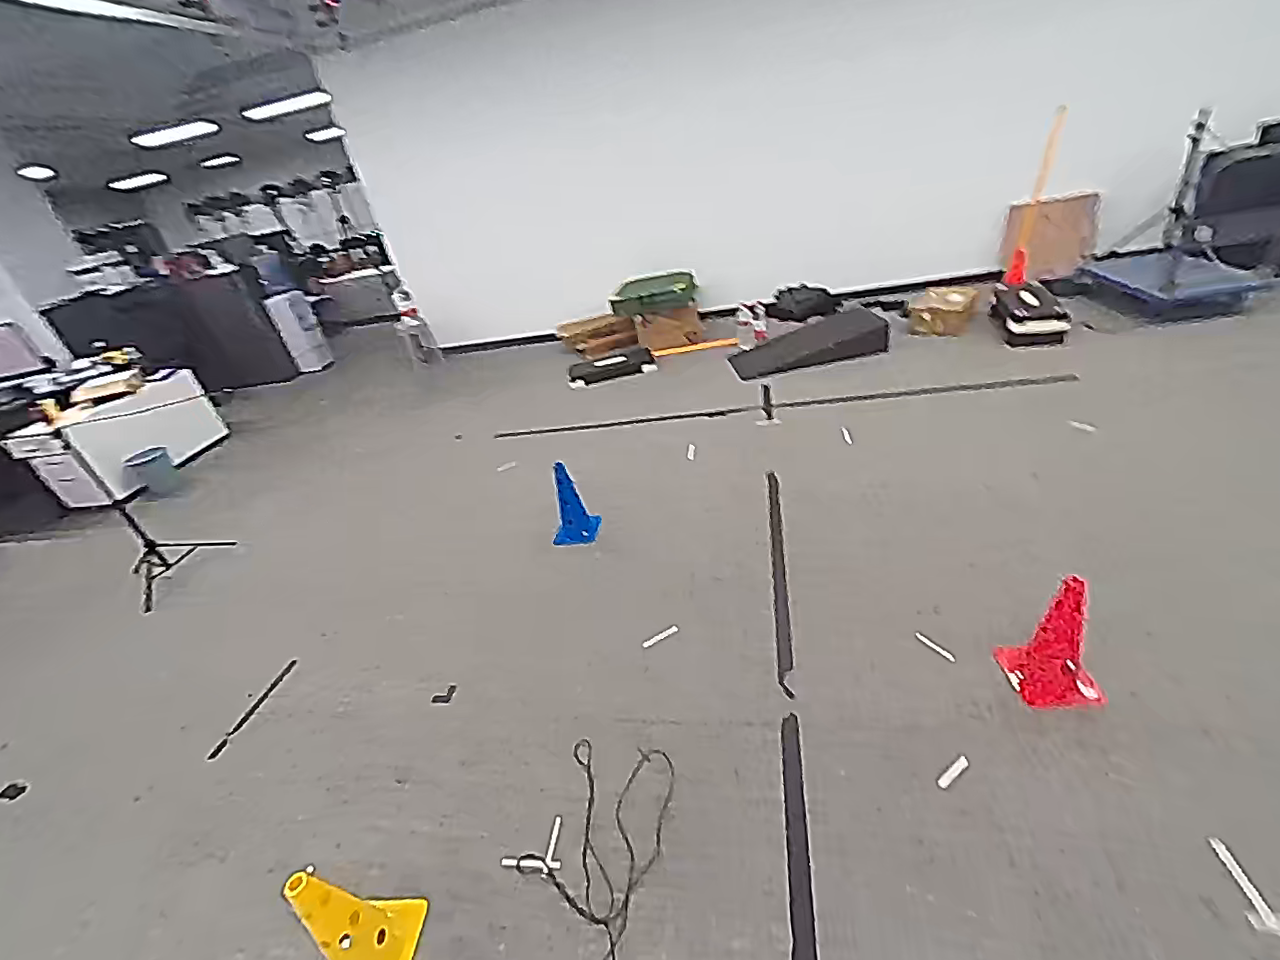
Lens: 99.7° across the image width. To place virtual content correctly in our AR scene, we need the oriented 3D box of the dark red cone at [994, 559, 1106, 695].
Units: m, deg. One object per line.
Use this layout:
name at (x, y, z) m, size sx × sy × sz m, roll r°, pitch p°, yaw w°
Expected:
dark red cone at (1.085, 0.361, 1.401) m, size 0.201 × 0.394 × 0.202 m, roll -10°, pitch 31°, yaw 7°

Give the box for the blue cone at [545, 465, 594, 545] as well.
blue cone at (-0.342, 0.098, 2.397) m, size 0.192 × 0.380 × 0.193 m, roll -5°, pitch 32°, yaw 14°
